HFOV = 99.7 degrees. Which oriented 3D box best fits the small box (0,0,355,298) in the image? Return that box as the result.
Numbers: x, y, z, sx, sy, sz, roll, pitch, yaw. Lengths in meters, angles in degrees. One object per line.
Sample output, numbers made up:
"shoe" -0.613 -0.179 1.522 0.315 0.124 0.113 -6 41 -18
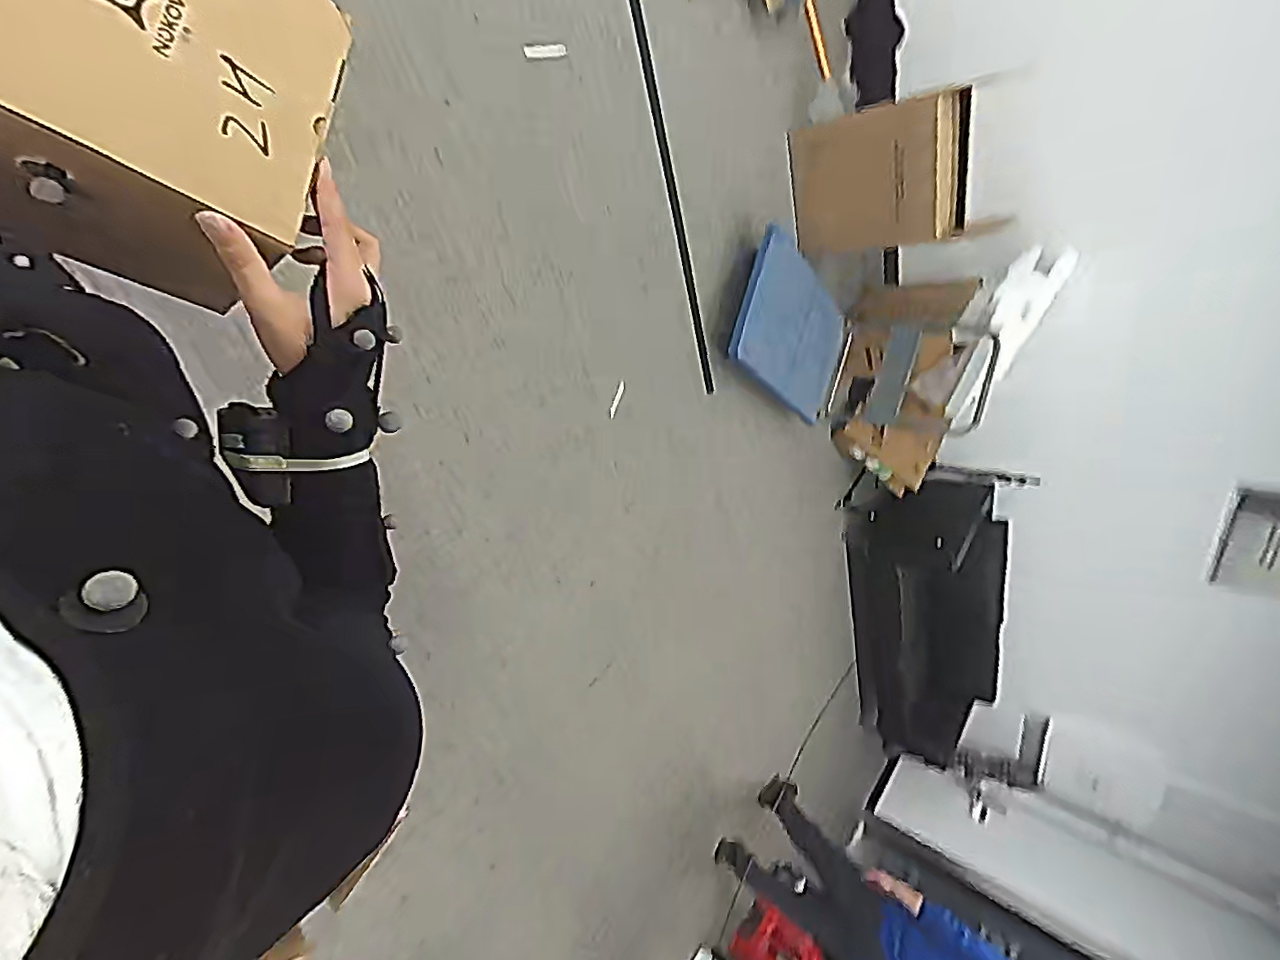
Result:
"small box" -0.309 -0.232 0.323 0.179 0.176 0.168 18 75 -47
